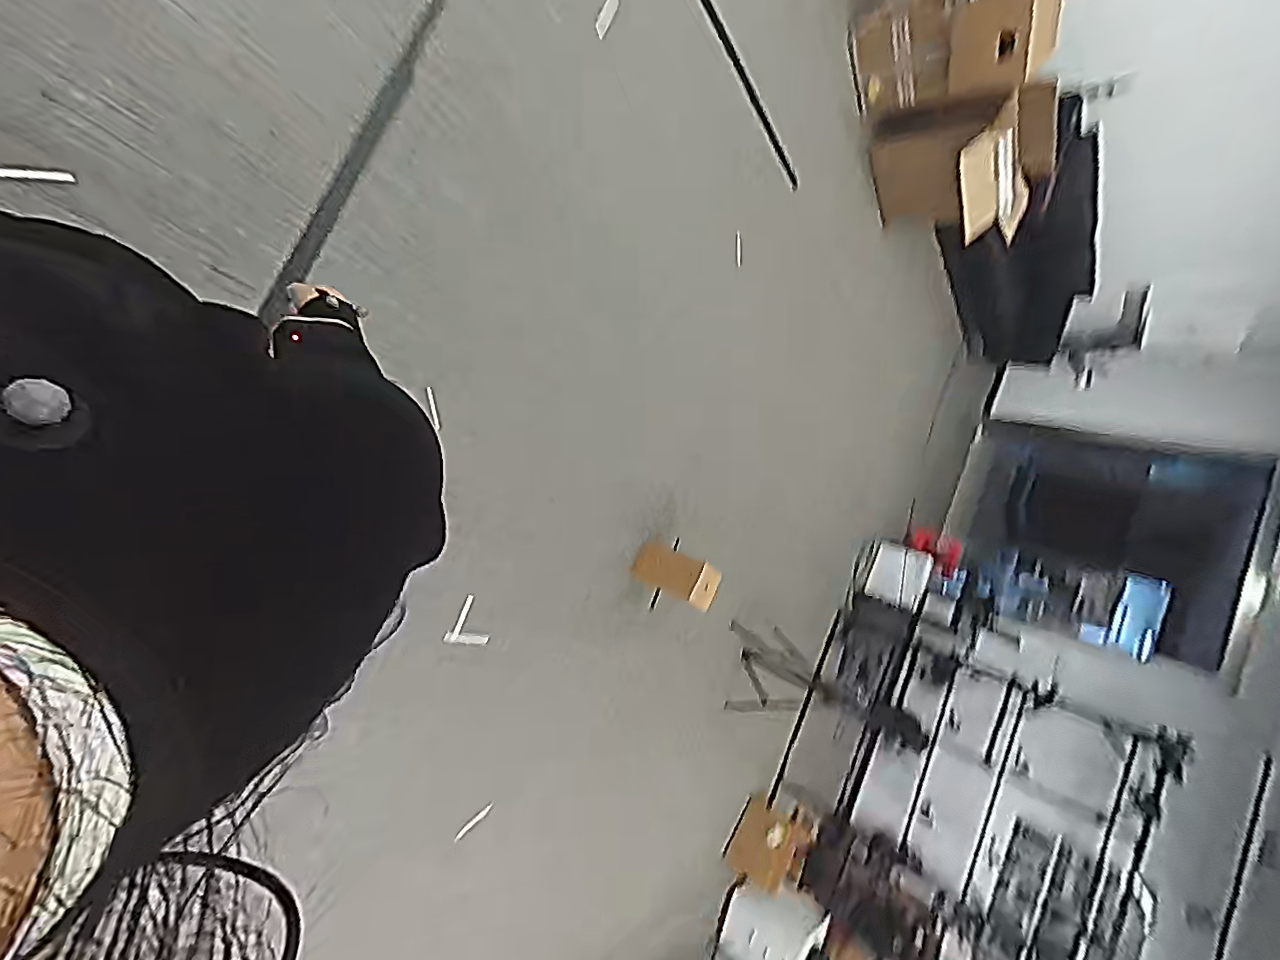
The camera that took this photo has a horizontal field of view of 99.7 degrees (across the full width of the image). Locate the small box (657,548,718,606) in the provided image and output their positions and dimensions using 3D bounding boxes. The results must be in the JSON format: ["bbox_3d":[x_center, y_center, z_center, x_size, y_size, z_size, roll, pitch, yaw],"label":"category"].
[{"bbox_3d":[0.200,0.412,2.319,0.168,0.176,0.179,40,72,-46],"label":"small box"}]

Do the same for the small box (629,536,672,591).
[{"bbox_3d":[0.076,0.376,2.421,0.168,0.176,0.179,37,75,-47],"label":"small box"}]
